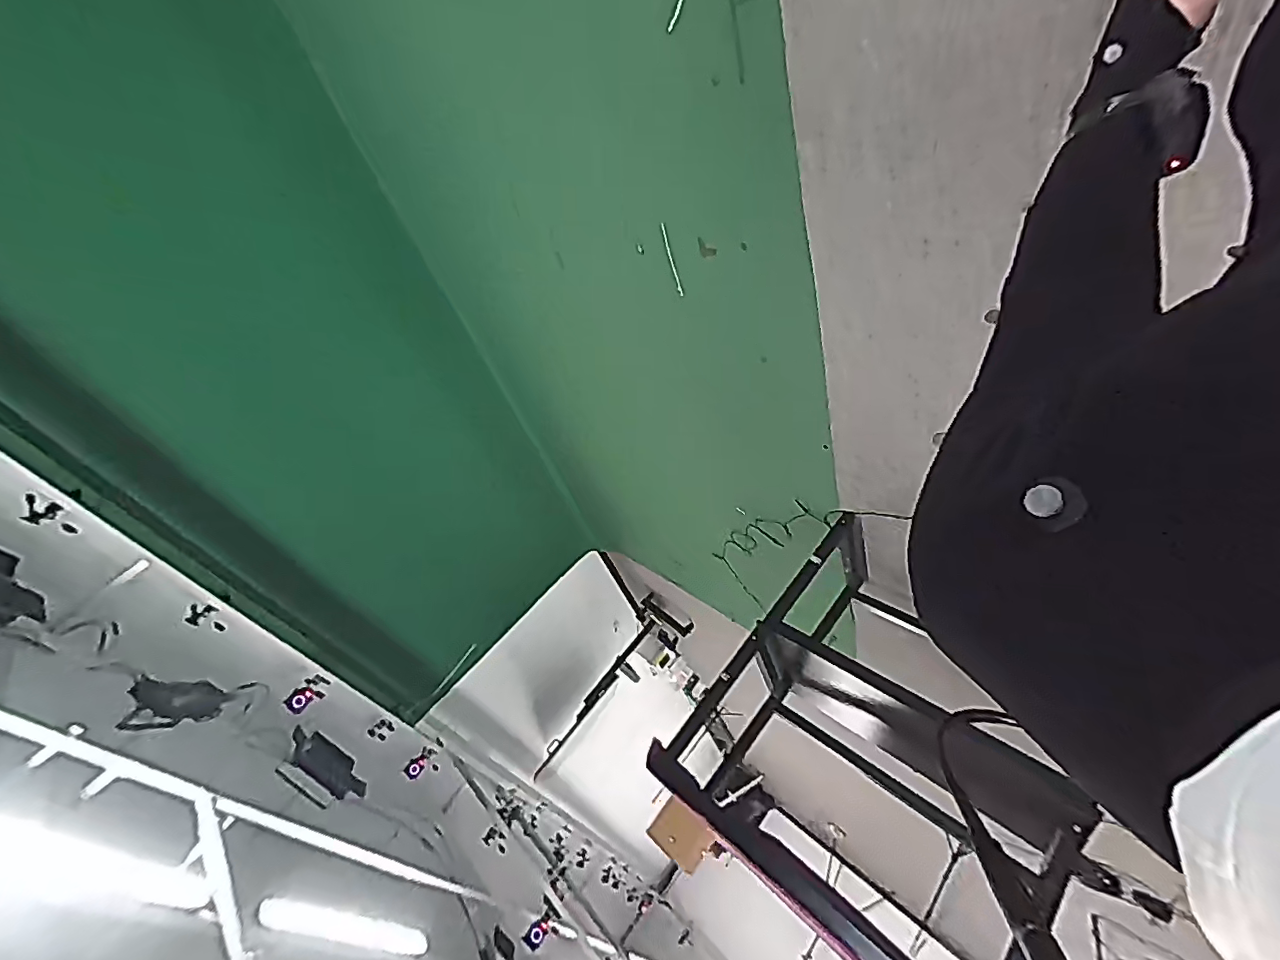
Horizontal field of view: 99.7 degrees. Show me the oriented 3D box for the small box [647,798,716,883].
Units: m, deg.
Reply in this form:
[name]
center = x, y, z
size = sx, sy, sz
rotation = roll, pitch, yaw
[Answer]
[small box]
center = 0.158, 1.295, 1.949
size = 0.179, 0.176, 0.168
rotation = 25, 149, 38
